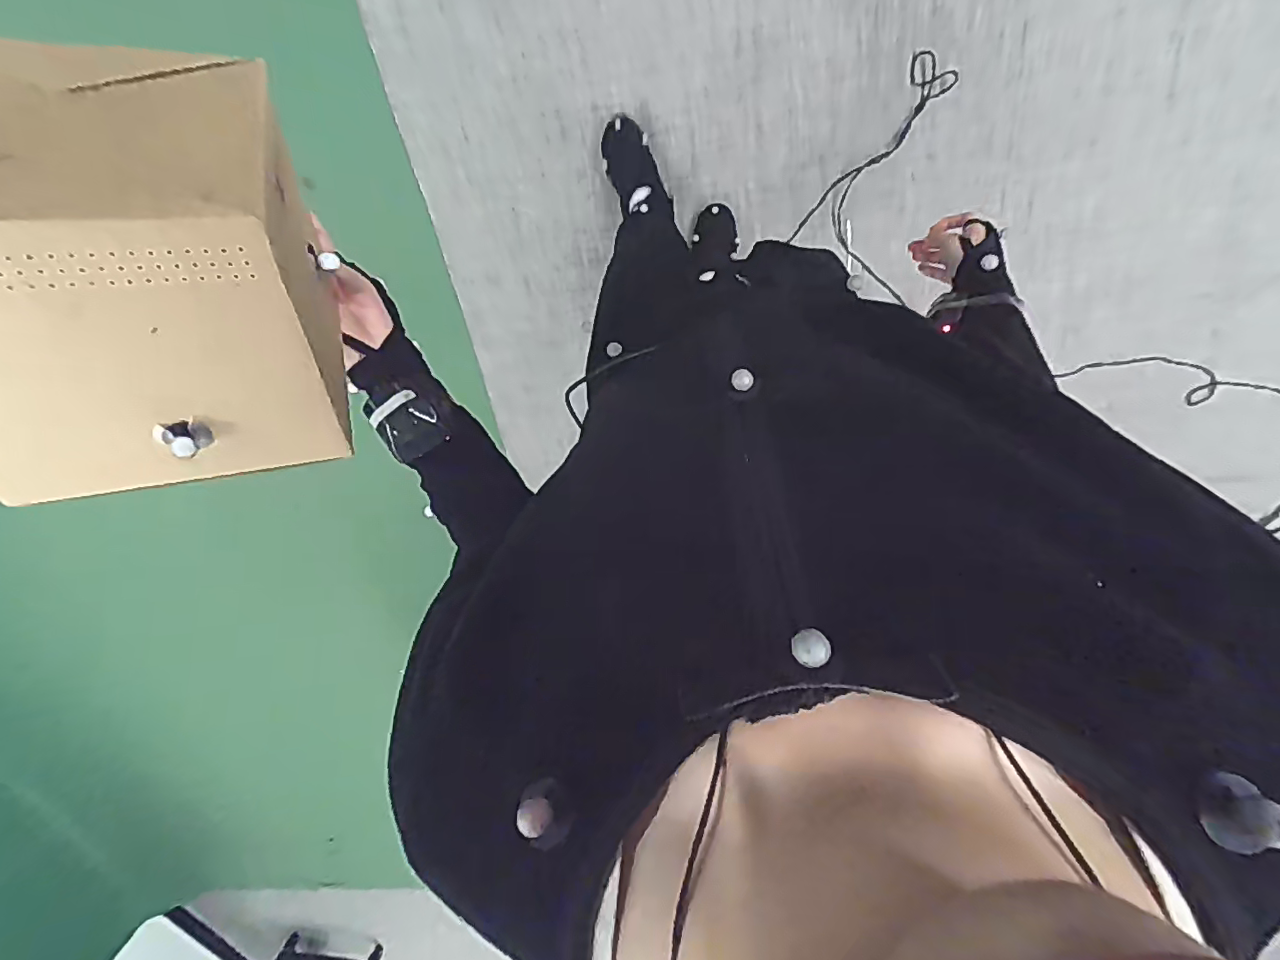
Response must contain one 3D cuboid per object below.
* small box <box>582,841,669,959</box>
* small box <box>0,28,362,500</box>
[{"bbox_3d":[-0.025,0.991,1.278,0.168,0.176,0.179,-11,116,8],"label":"small box"},{"bbox_3d":[-0.272,-0.116,0.295,0.179,0.168,0.176,-11,148,-21],"label":"small box"}]
